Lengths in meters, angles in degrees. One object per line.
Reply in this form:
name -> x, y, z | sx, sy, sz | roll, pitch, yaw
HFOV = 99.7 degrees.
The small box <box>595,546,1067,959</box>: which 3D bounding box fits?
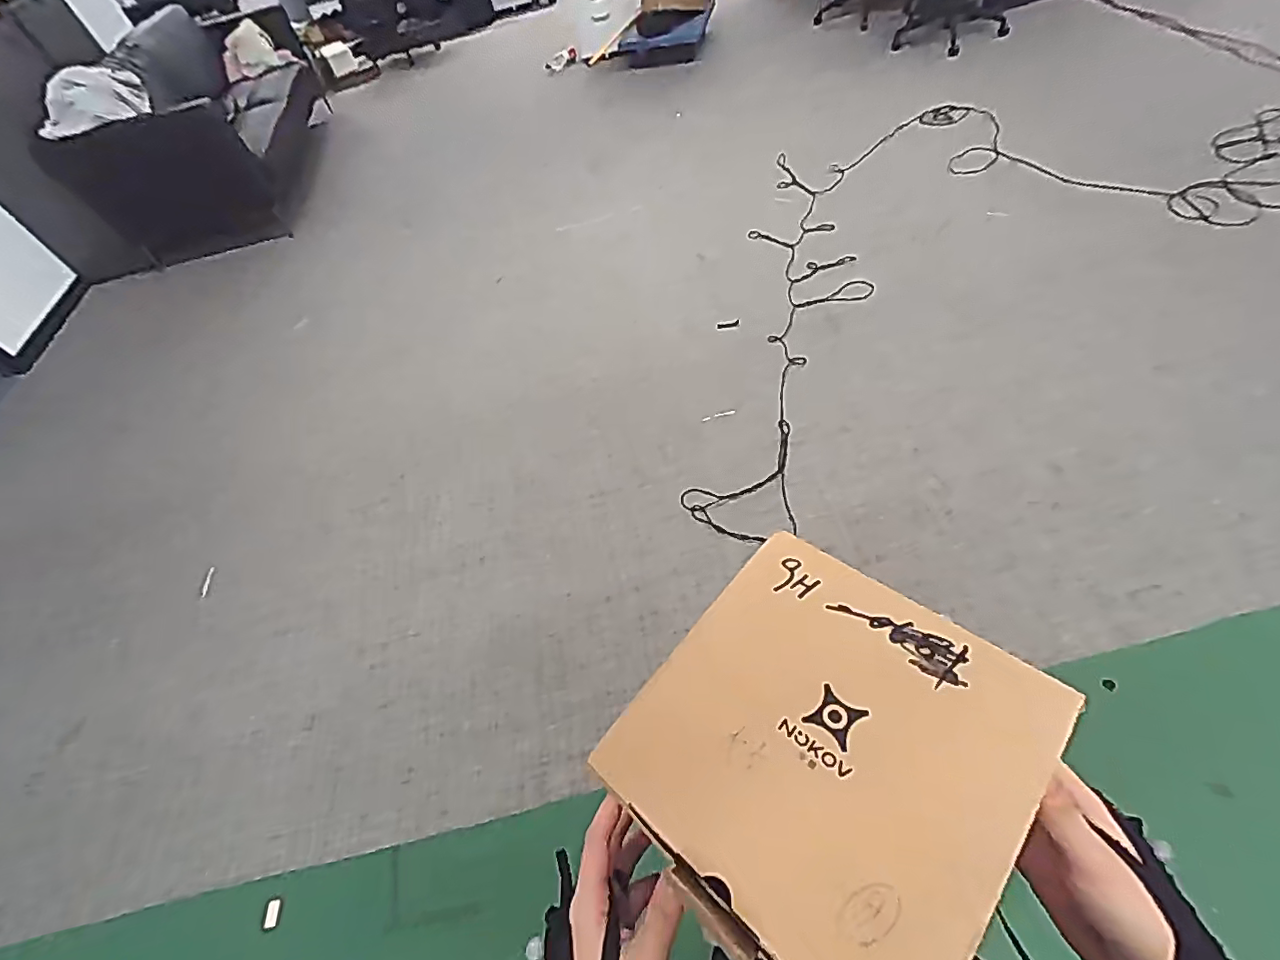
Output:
small box -> 0.105, 0.181, 0.328 | 0.168, 0.176, 0.179 | 30, 63, 33
